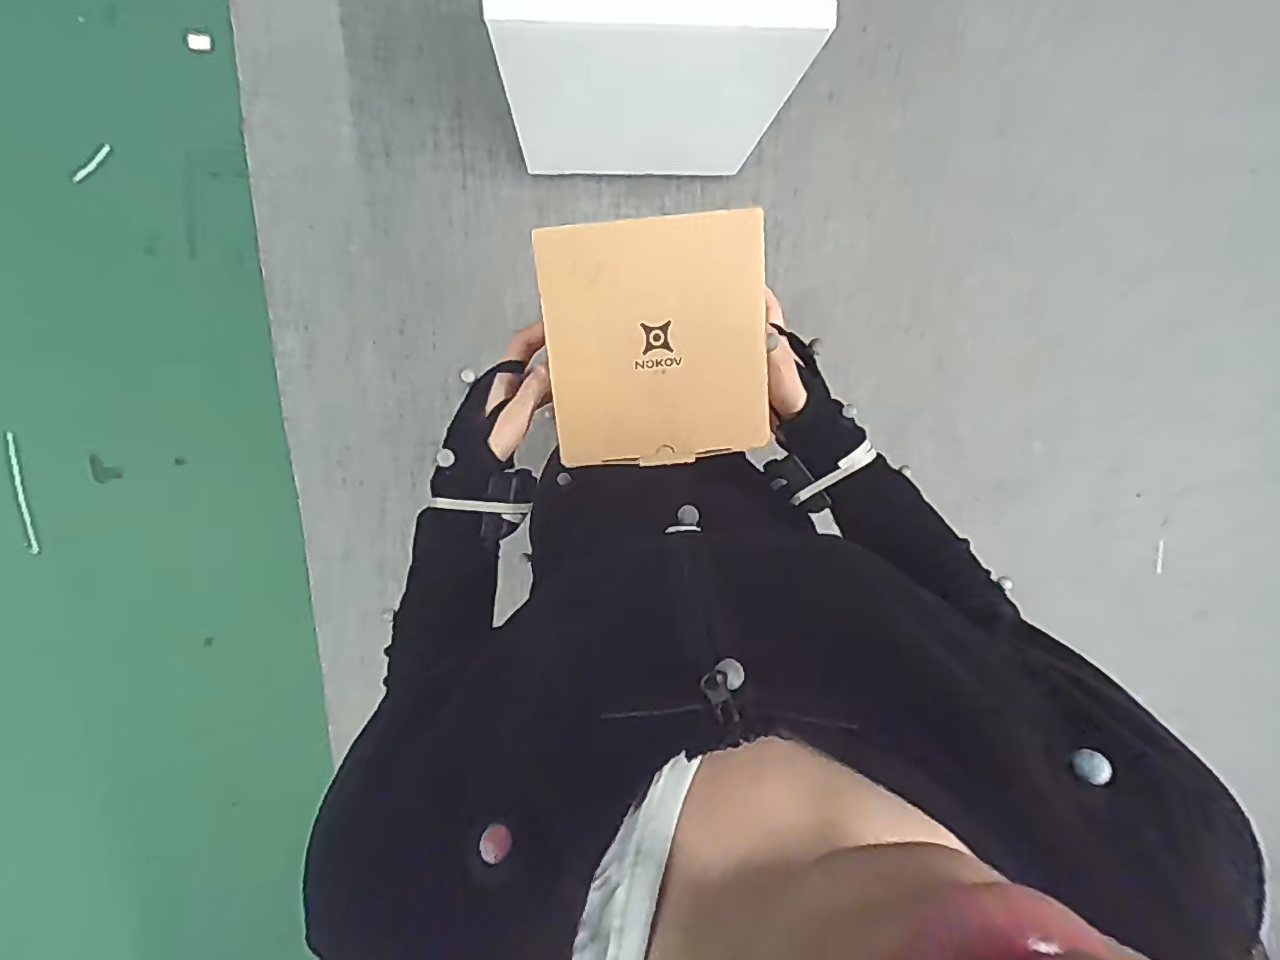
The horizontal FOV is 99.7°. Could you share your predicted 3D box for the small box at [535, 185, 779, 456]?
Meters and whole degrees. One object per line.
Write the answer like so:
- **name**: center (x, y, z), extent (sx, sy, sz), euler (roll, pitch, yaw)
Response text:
- **small box**: center (0.014, -0.129, 0.462), extent (0.168, 0.176, 0.179), euler (-6, 106, 1)
